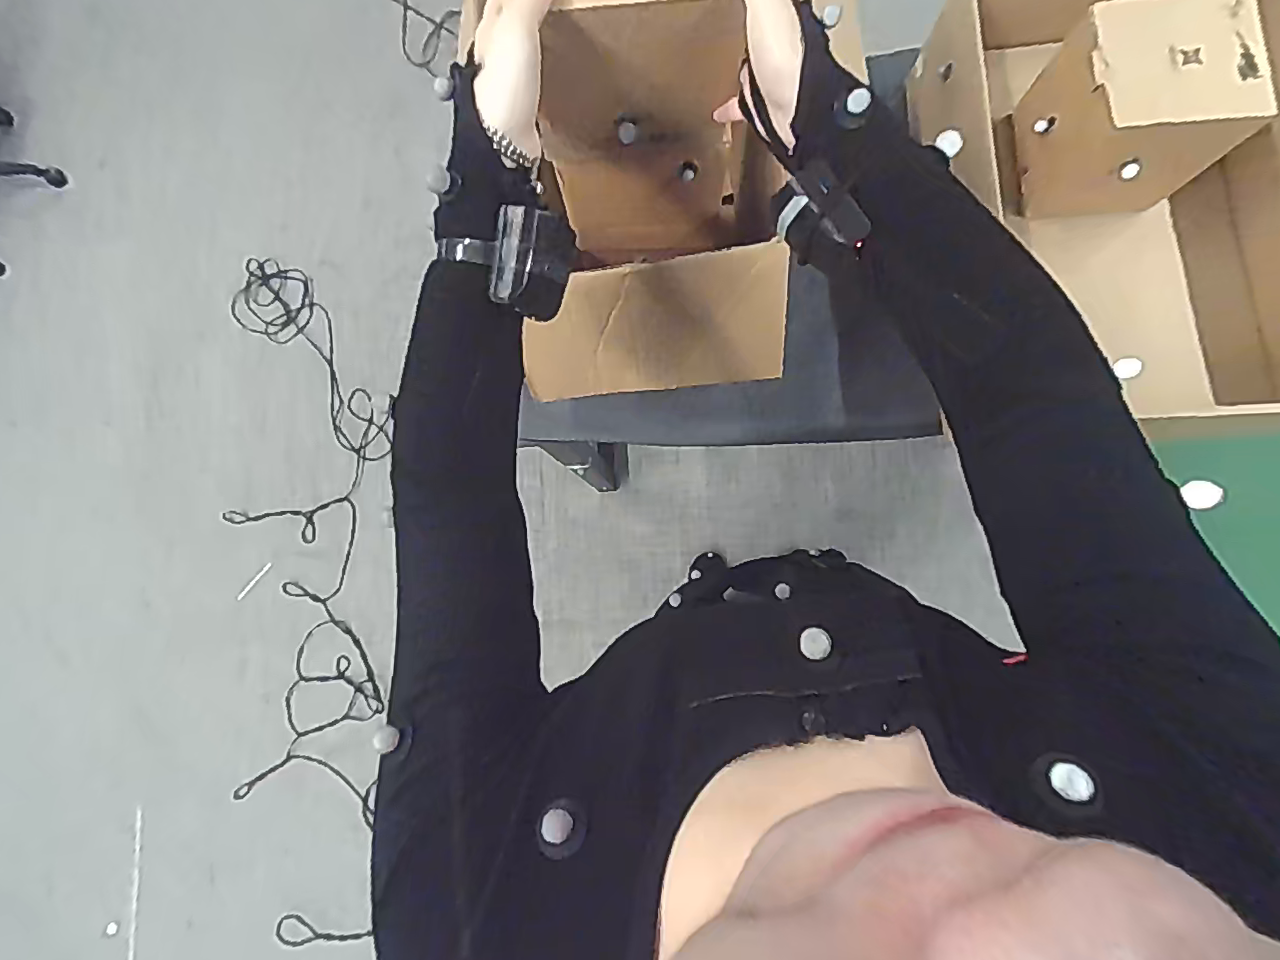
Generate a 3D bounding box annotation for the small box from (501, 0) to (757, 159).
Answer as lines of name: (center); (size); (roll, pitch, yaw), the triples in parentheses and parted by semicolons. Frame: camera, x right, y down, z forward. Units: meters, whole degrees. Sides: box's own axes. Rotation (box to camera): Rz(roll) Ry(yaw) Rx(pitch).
small box: (-0.013, -0.385, 0.417); (0.168, 0.176, 0.179); (-5, 93, 0)
